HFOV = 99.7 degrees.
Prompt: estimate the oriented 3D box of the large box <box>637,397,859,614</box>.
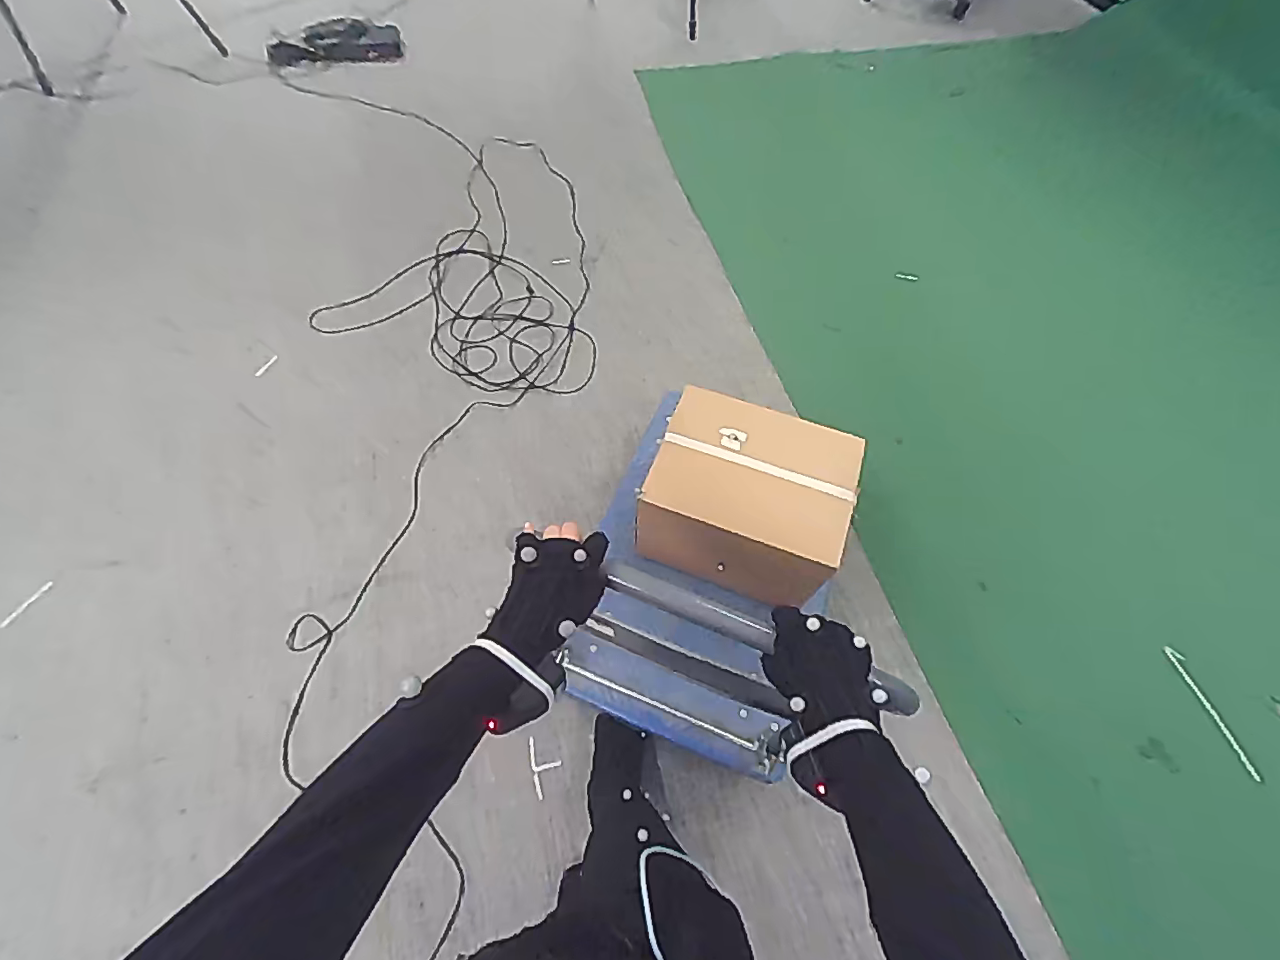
[{"bbox_3d":[0.233,0.067,1.247,0.408,0.320,0.320,19,61,10],"label":"large box"}]
